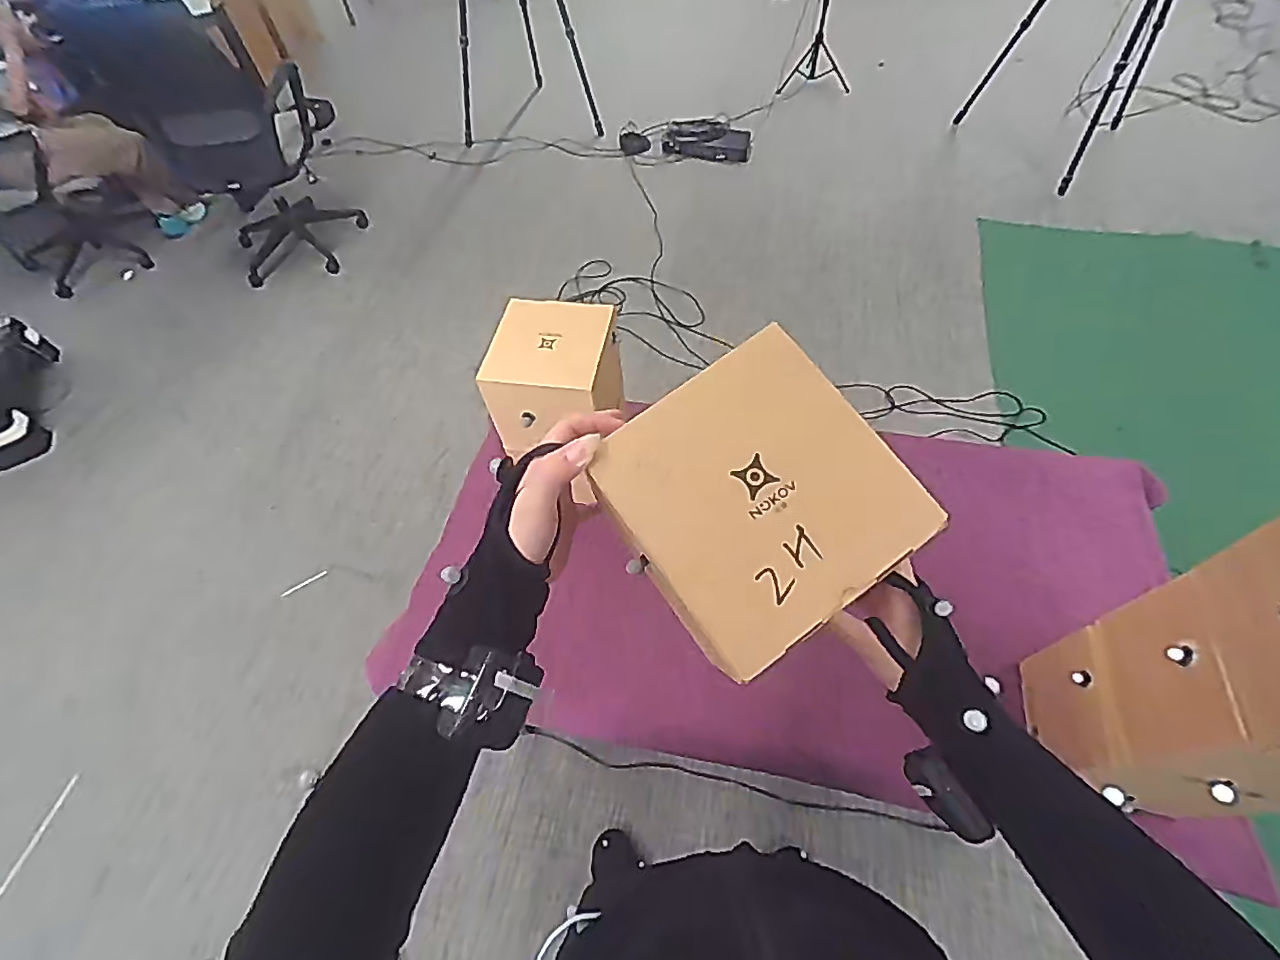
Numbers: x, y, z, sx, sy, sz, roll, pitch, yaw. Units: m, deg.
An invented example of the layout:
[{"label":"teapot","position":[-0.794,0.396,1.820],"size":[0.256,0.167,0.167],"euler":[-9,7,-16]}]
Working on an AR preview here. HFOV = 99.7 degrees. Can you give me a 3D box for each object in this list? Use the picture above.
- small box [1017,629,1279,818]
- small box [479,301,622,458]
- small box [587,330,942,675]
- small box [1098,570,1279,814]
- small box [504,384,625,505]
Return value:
[{"label":"small box","position":[0.626,0.315,0.693],"size":[0.179,0.176,0.168],"euler":[12,57,11]},{"label":"small box","position":[-0.125,-0.152,0.846],"size":[0.168,0.176,0.179],"euler":[6,57,7]},{"label":"small box","position":[0.077,0.026,0.424],"size":[0.168,0.176,0.179],"euler":[-34,78,-7]},{"label":"small box","position":[0.622,0.221,0.559],"size":[0.168,0.176,0.179],"euler":[11,57,12]},{"label":"small box","position":[-0.123,-0.068,0.984],"size":[0.179,0.176,0.168],"euler":[6,57,7]}]
